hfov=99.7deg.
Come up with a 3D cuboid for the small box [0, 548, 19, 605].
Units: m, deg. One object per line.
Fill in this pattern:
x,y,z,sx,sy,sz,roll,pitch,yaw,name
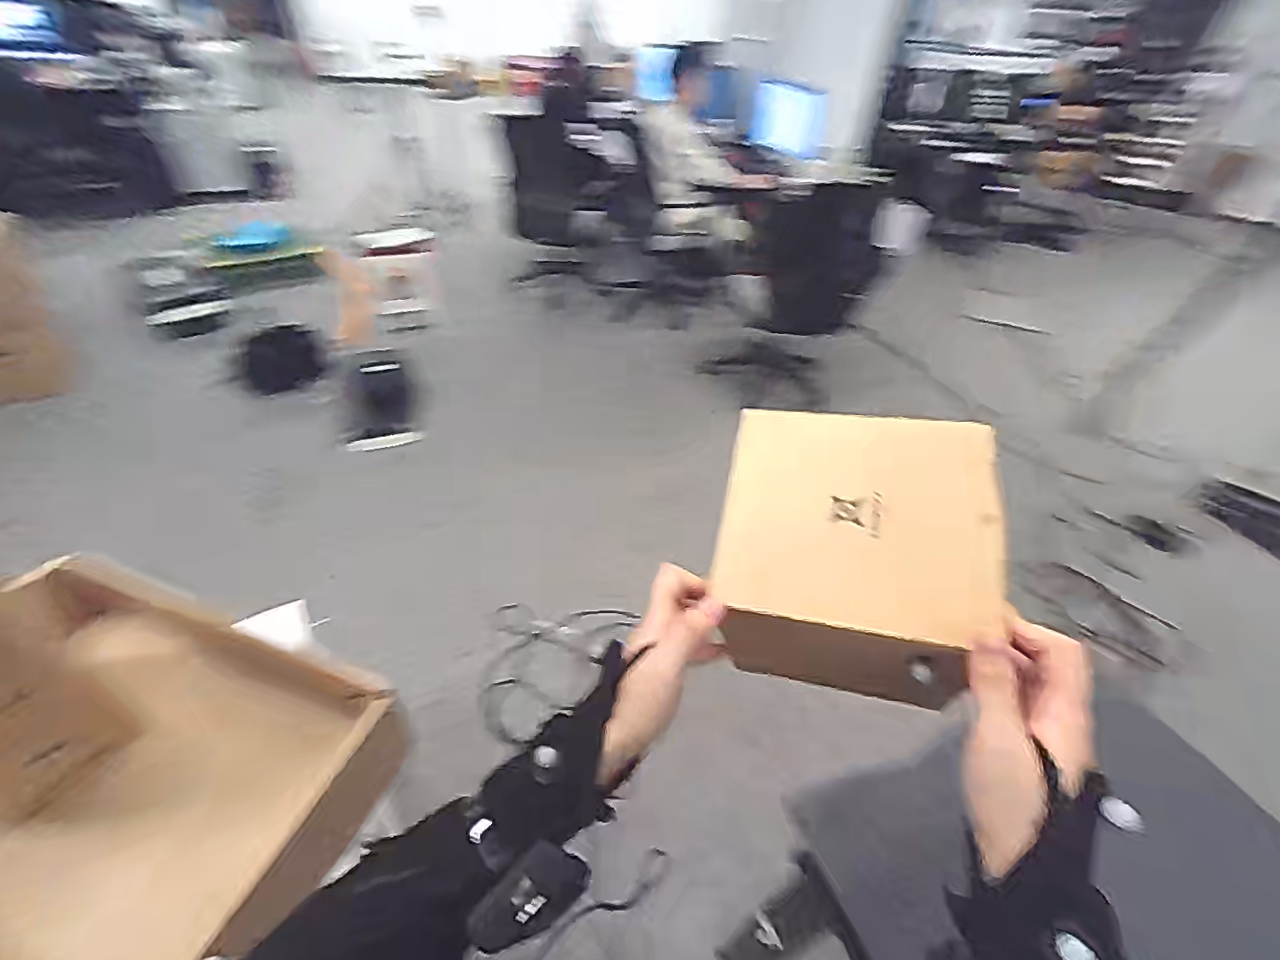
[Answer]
-0.779,0.075,0.522,0.168,0.176,0.179,27,49,21,small box
